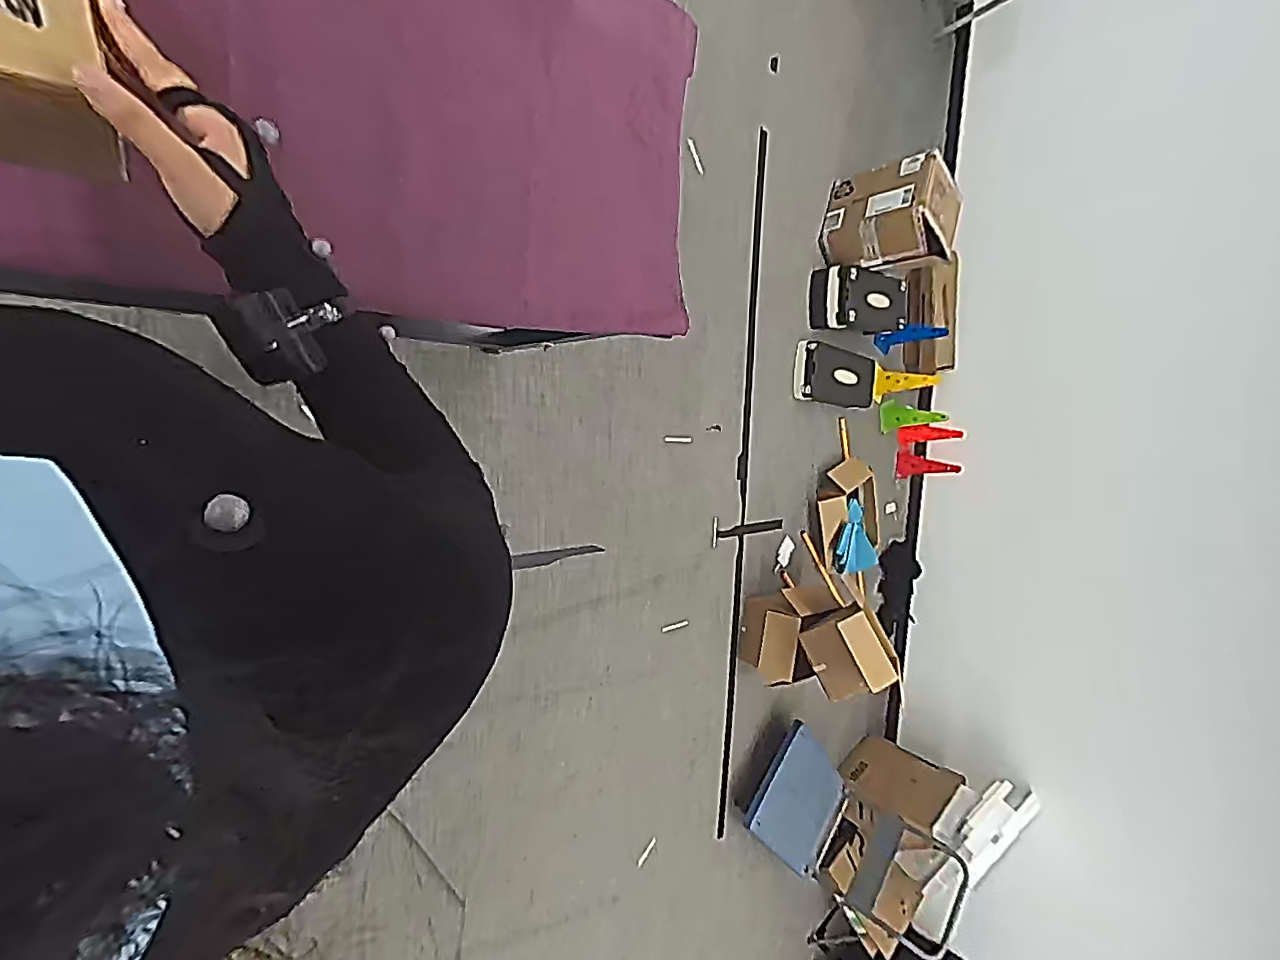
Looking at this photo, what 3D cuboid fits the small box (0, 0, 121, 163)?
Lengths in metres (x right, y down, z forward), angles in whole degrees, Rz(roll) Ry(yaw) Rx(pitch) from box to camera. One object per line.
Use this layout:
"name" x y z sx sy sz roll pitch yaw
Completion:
"small box" -0.417 -0.301 0.299 0.179 0.176 0.168 -9 103 -40
